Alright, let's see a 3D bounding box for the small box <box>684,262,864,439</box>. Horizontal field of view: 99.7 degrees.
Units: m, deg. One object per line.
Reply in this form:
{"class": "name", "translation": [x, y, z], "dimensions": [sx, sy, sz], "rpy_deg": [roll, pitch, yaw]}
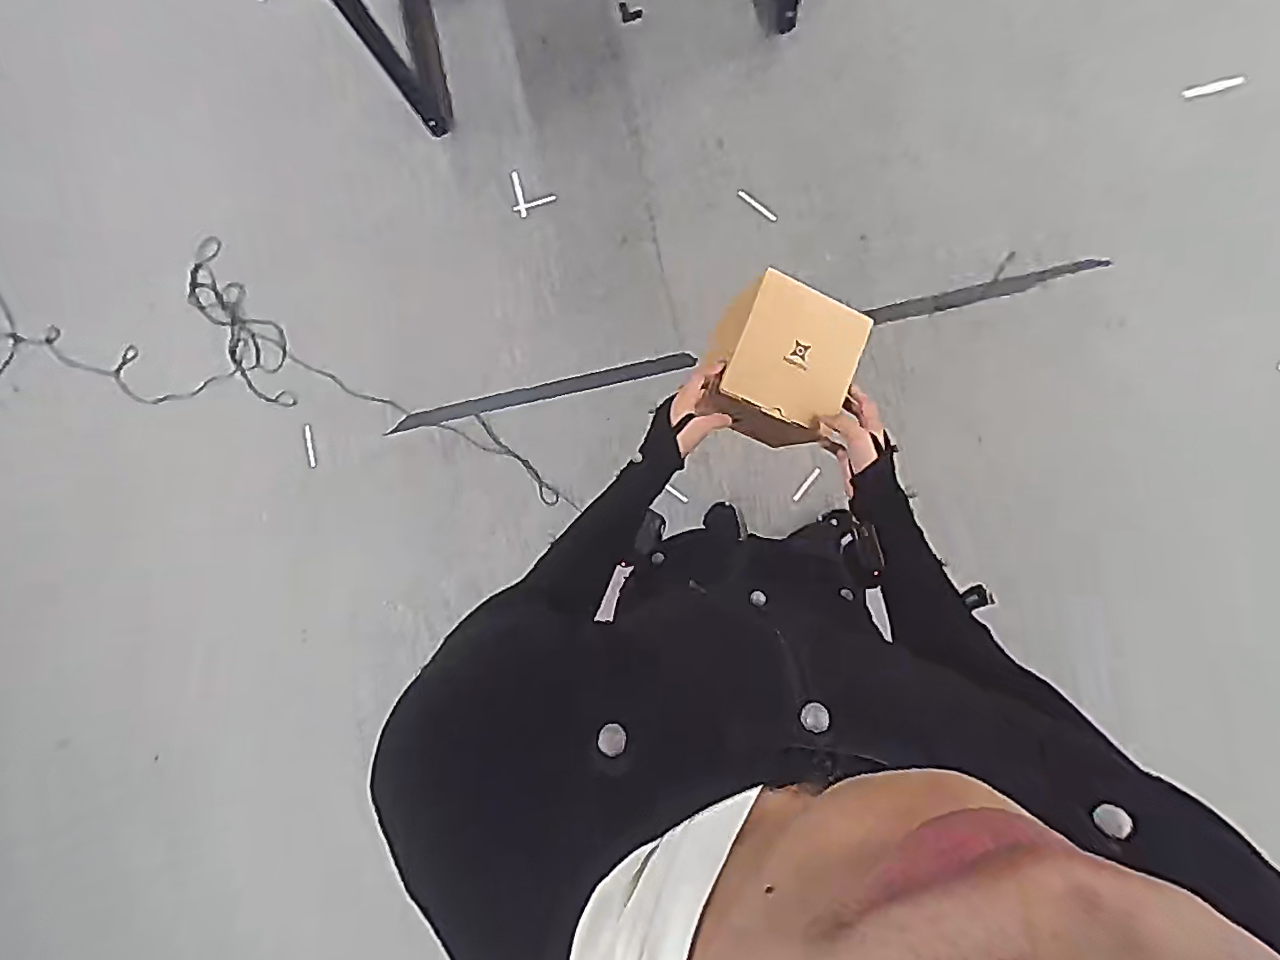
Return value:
{"class": "small box", "translation": [0.179, -0.170, 0.772], "dimensions": [0.168, 0.176, 0.179], "rpy_deg": [21, 86, -11]}
